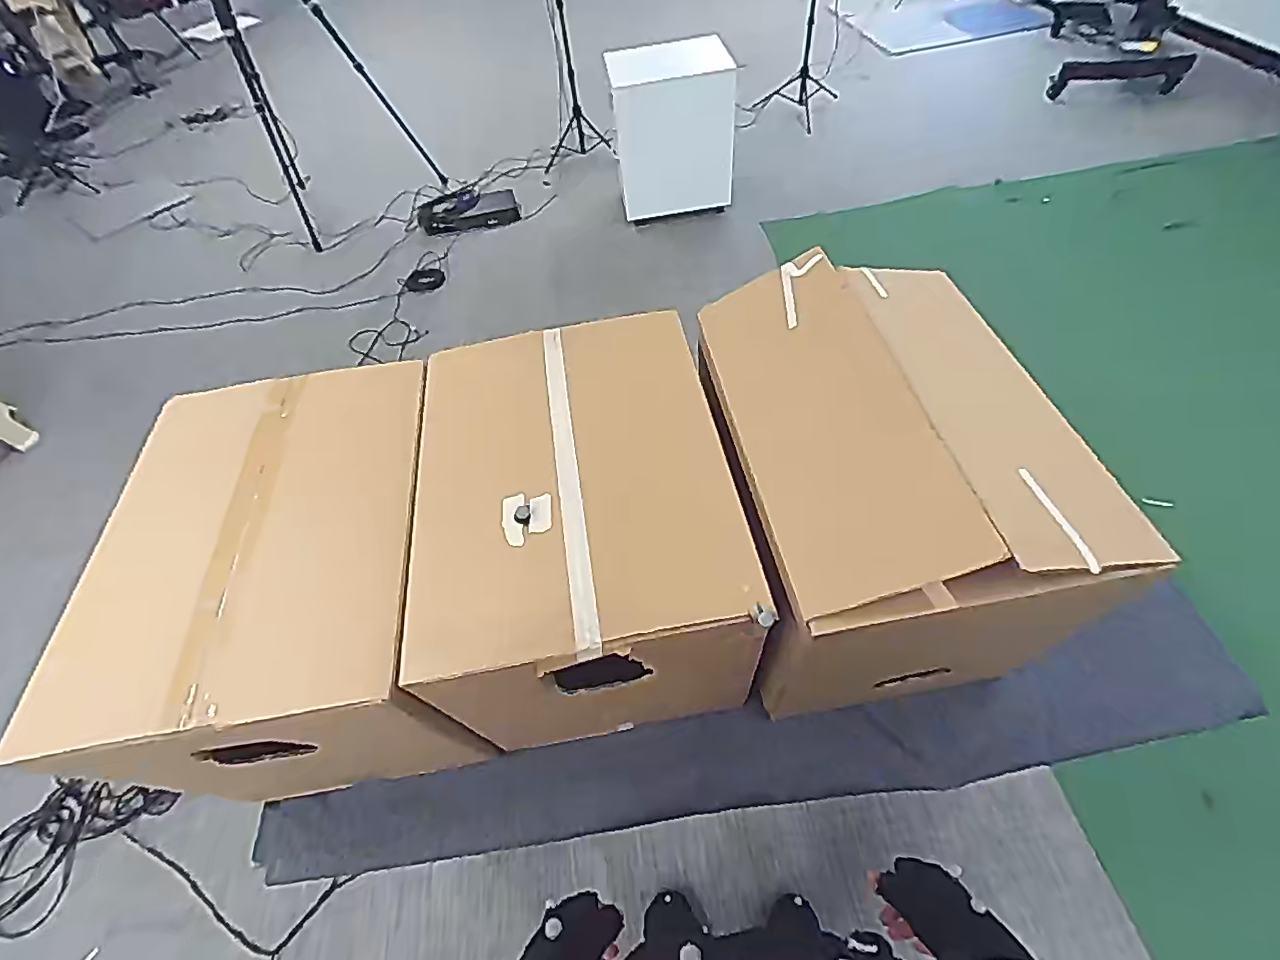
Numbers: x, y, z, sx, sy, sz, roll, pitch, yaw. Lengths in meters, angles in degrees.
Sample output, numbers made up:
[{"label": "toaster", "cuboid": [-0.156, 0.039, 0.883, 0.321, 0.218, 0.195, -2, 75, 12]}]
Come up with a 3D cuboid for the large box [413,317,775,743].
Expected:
[{"label": "large box", "cuboid": [-0.060, 0.064, 0.678, 0.320, 0.320, 0.408, -11, 55, -1]}]
